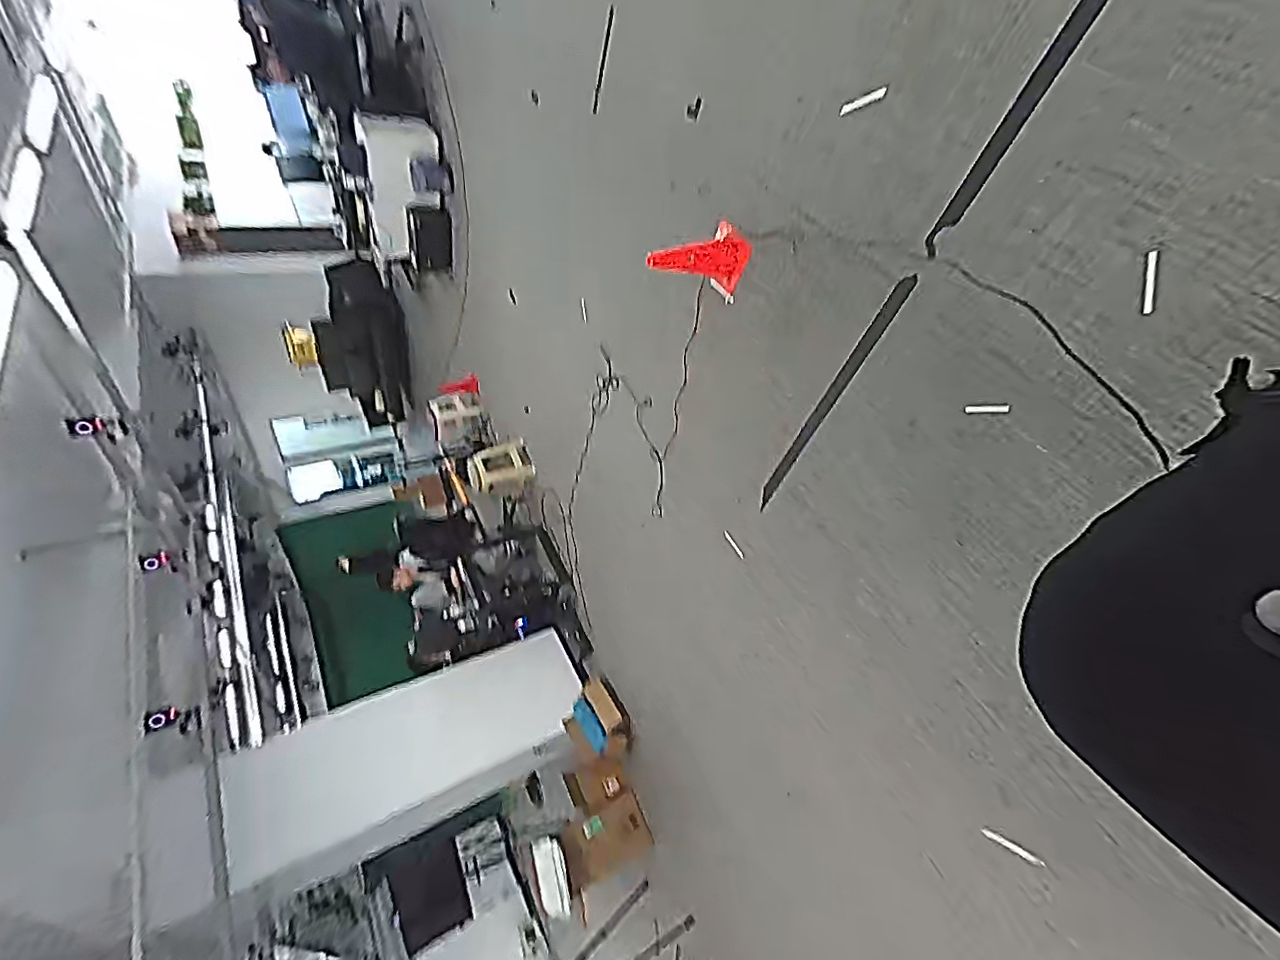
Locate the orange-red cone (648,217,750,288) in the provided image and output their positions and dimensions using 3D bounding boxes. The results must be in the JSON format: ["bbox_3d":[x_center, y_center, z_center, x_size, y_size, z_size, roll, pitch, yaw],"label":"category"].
[{"bbox_3d":[0.183,-0.813,1.941,0.198,0.360,0.199,60,146,23],"label":"orange-red cone"}]
